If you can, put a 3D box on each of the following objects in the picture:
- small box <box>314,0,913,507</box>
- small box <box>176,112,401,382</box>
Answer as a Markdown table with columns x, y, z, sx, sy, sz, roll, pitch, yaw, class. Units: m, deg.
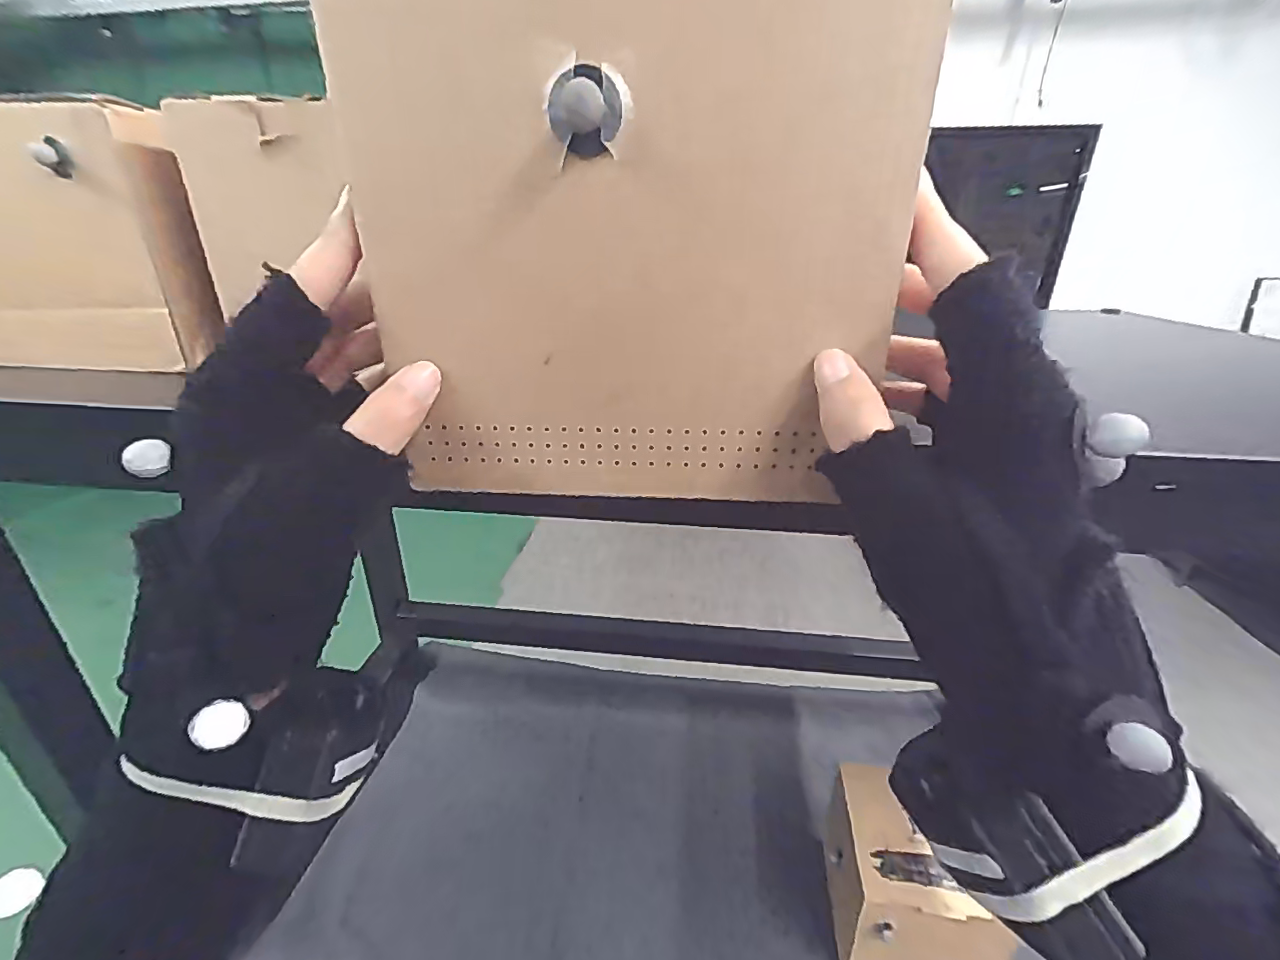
| x | y | z | sx | sy | sz | roll | pitch | yaw | class |
| --- | --- | --- | --- | --- | --- | --- | --- | --- | --- |
| -0.002 | -0.097 | 0.252 | 0.179 | 0.176 | 0.168 | 2 | 25 | 4 | small box |
| -0.200 | -0.178 | 0.435 | 0.168 | 0.176 | 0.179 | 3 | 23 | 5 | small box |
